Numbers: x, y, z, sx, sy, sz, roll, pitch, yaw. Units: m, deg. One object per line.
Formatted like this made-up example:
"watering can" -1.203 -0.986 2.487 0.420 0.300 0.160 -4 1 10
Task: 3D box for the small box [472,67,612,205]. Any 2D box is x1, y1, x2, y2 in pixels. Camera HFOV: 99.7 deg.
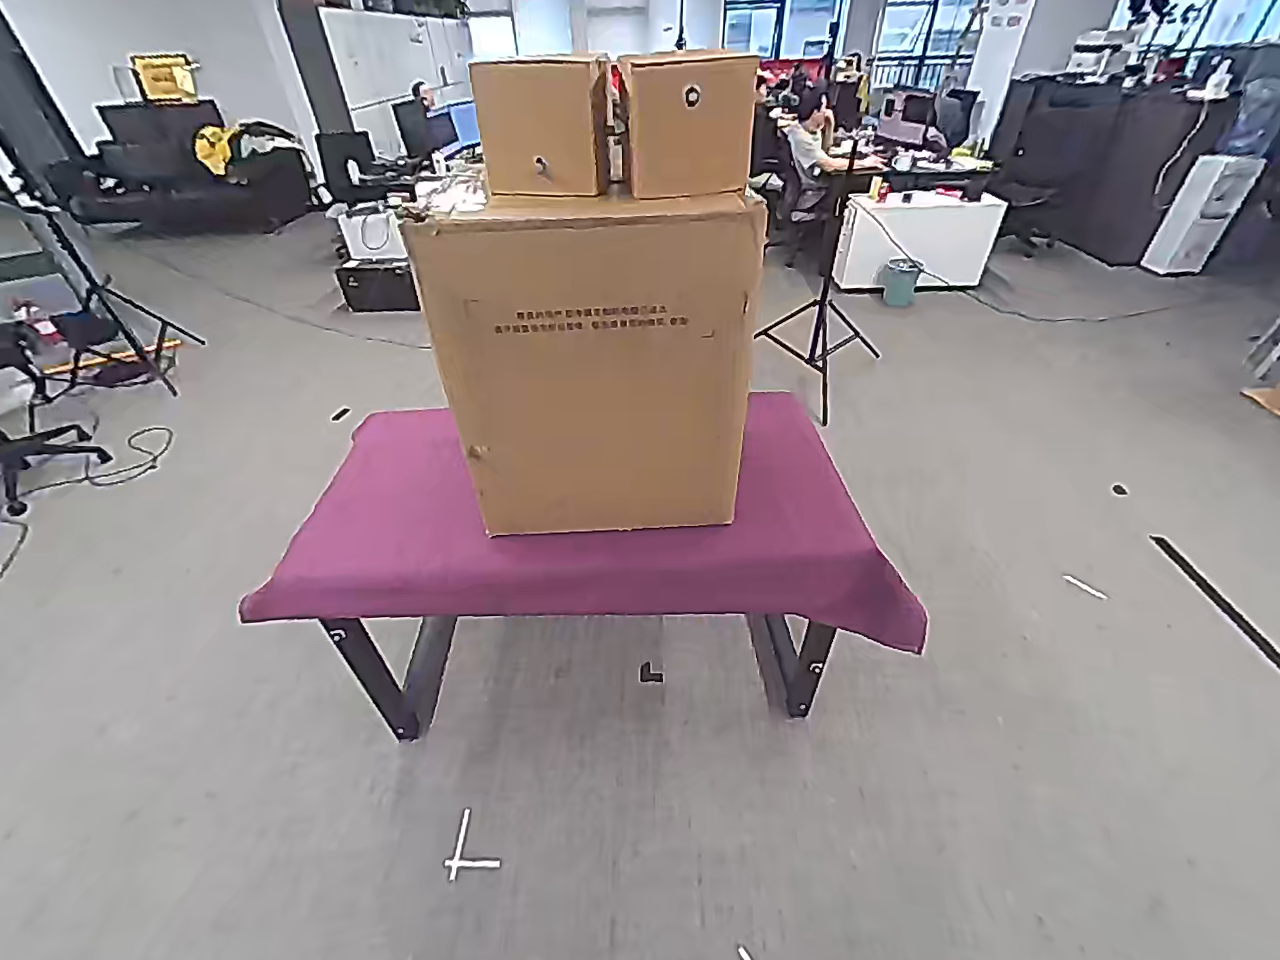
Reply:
"small box" -0.142 -0.548 0.863 0.179 0.176 0.168 5 39 6
